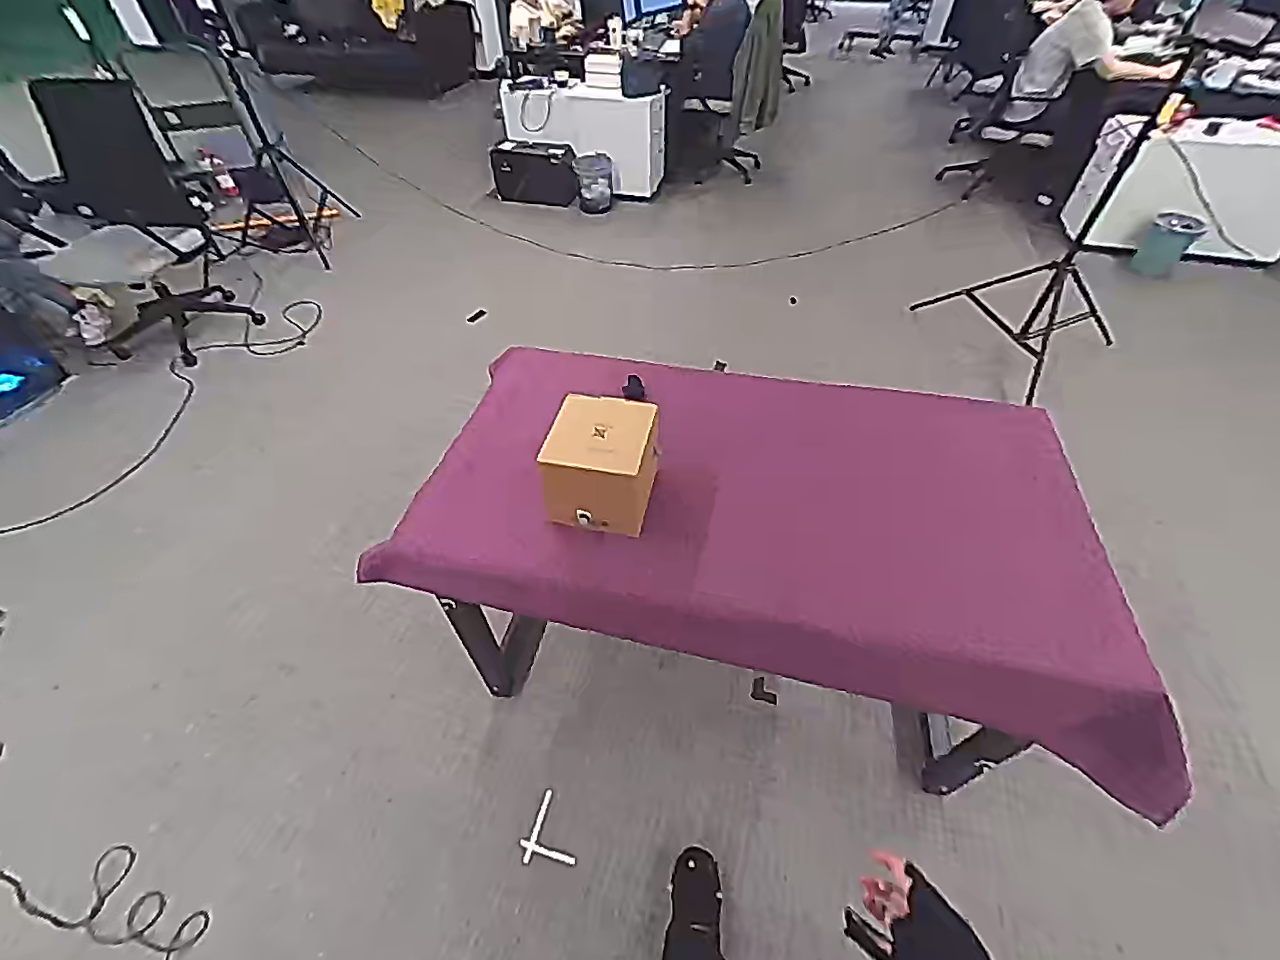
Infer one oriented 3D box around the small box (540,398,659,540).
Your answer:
[{"bbox_3d":[-0.062,-0.020,0.960,0.168,0.176,0.179,7,49,9],"label":"small box"}]
